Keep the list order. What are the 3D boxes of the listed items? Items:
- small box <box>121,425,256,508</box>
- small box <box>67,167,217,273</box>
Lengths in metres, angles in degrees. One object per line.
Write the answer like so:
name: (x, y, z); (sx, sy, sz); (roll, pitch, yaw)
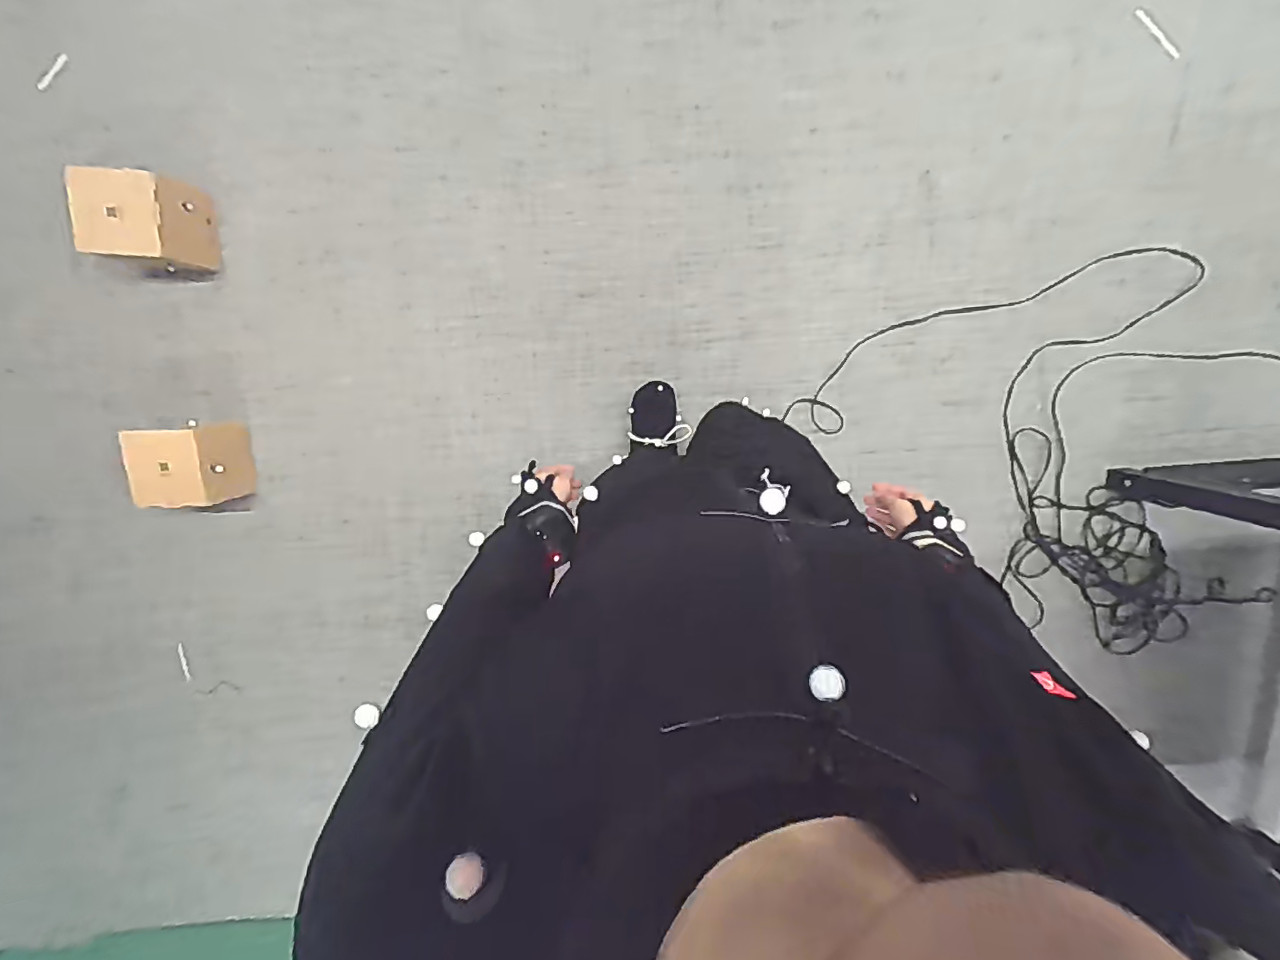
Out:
small box: (-1.046, -0.038, 1.268); (0.168, 0.176, 0.179); (-1, 102, 0)
small box: (-1.055, -0.551, 1.166); (0.179, 0.176, 0.168); (3, 100, 0)
